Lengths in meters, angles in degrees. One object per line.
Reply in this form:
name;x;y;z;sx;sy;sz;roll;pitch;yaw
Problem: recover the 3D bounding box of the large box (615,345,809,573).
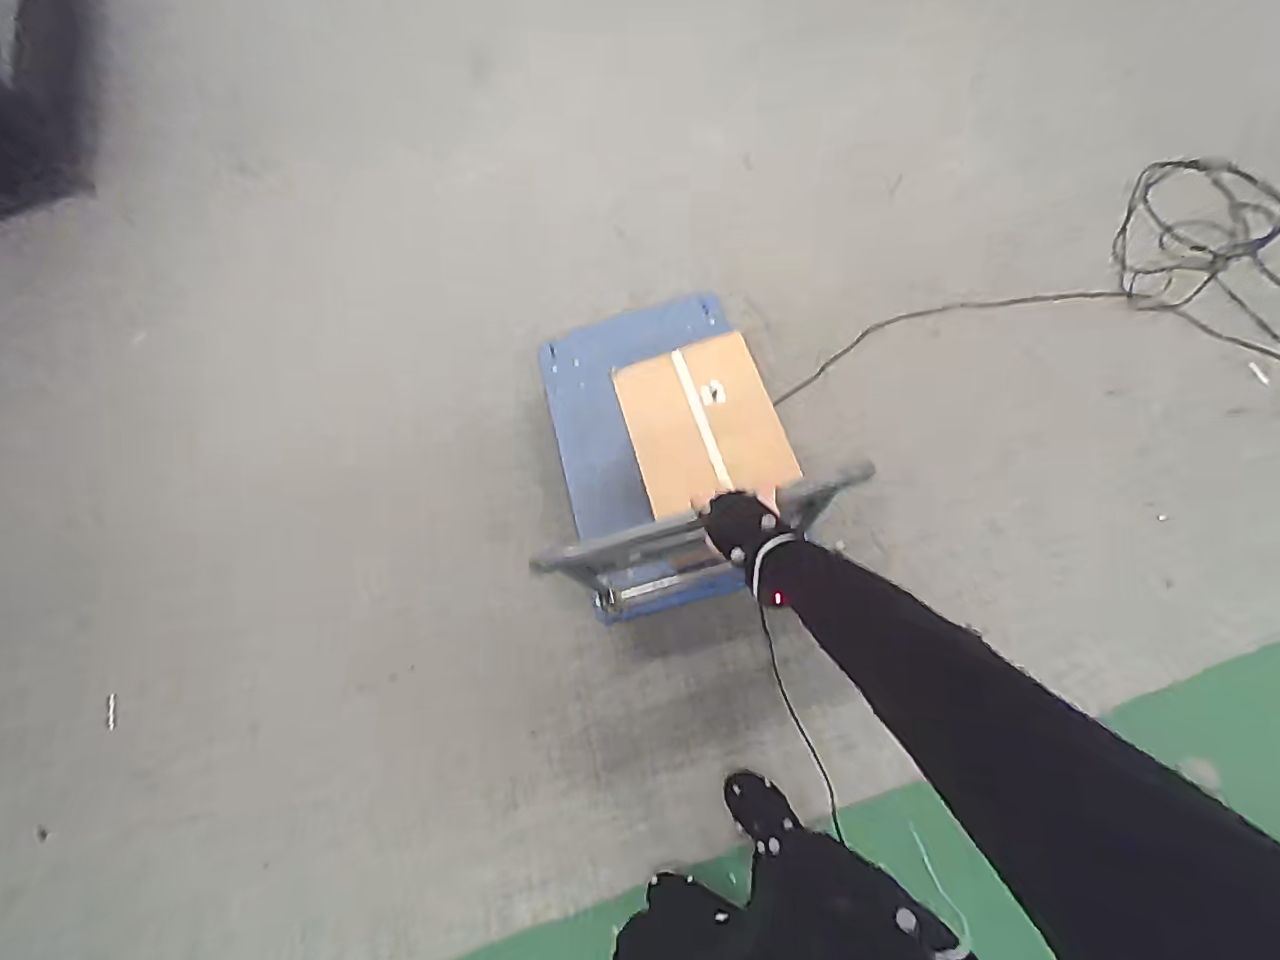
large box;0.166;-0.037;1.306;0.320;0.320;0.408;-18;66;1
